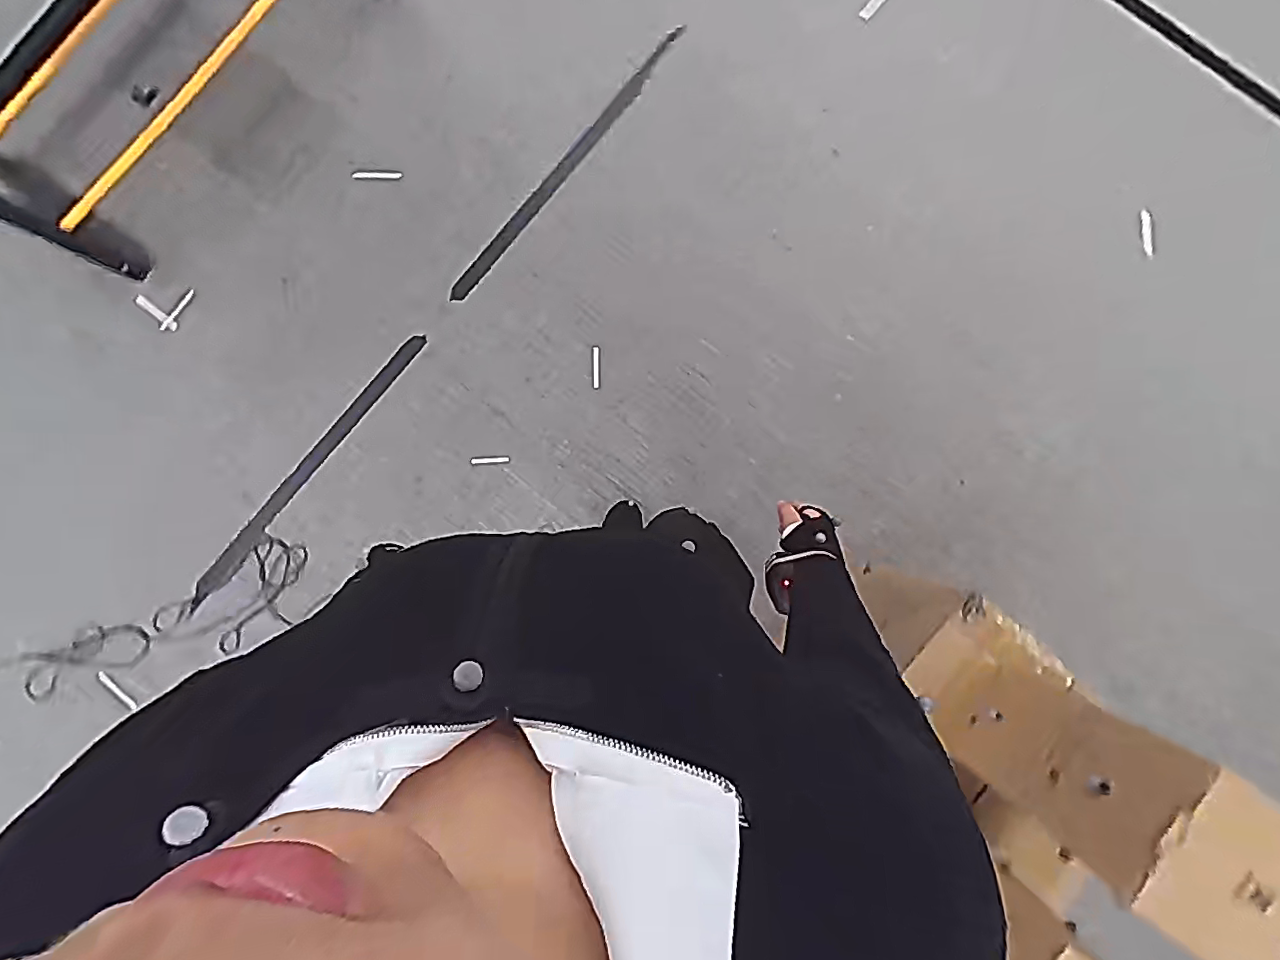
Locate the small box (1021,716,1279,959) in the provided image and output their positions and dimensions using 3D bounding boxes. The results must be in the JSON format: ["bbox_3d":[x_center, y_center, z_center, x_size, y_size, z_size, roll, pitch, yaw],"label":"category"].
[{"bbox_3d":[0.584,0.392,0.600,0.179,0.176,0.168,37,88,4],"label":"small box"}]

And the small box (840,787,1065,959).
[{"bbox_3d":[0.420,0.579,0.759,0.179,0.176,0.168,40,85,5],"label":"small box"}]

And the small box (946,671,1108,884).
[{"bbox_3d":[0.587,0.402,0.764,0.179,0.176,0.168,39,89,4],"label":"small box"}]
